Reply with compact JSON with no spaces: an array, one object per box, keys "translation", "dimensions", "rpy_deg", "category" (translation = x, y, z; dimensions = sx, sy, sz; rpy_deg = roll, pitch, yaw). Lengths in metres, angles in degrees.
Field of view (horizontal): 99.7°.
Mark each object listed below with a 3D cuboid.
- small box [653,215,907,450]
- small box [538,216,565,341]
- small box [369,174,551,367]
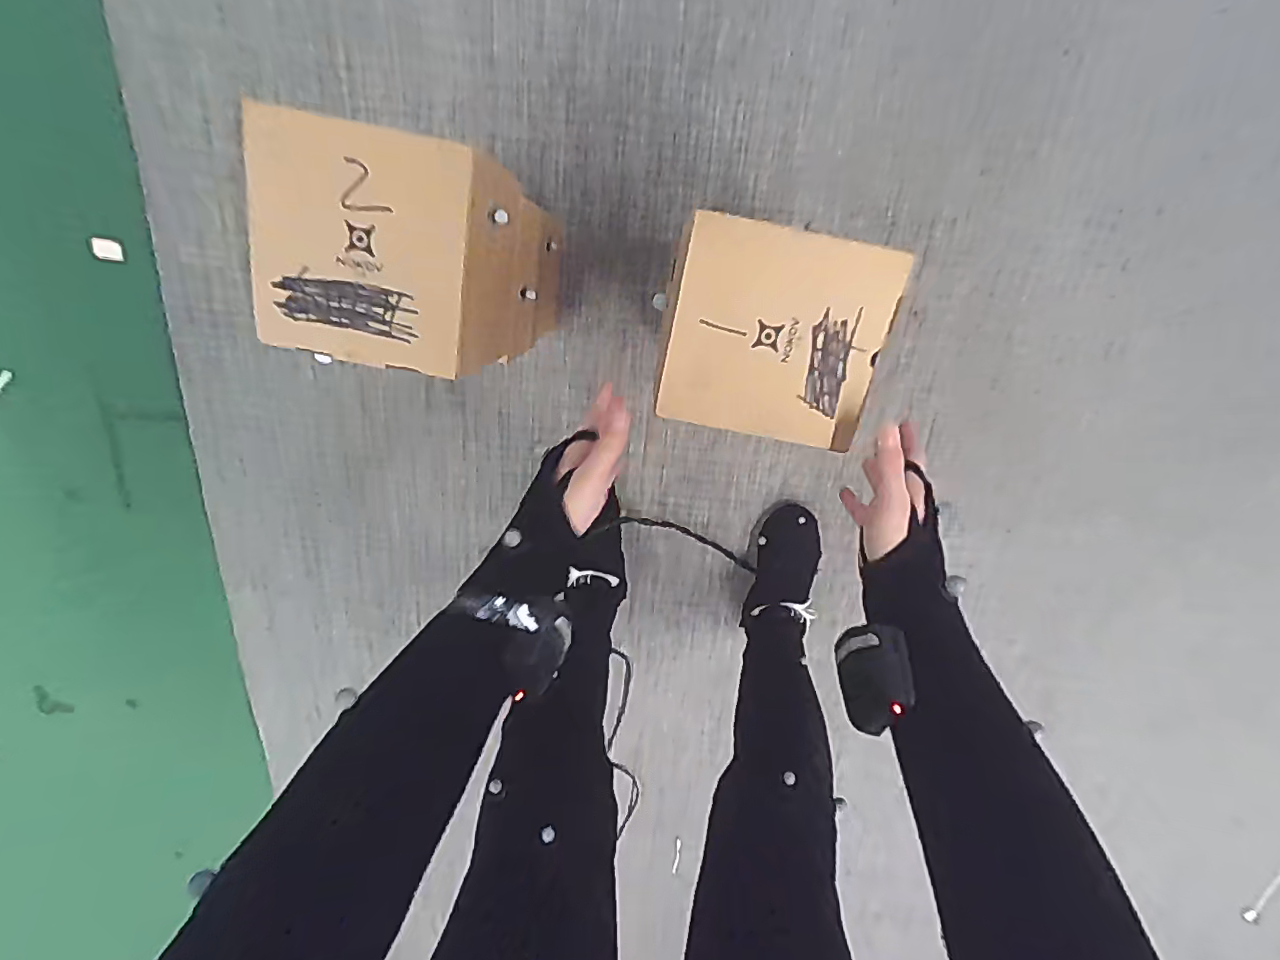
[{"translation":[0.113,-0.144,0.522],"dimensions":[0.179,0.176,0.168],"rpy_deg":[11,110,-2],"category":"small box"},{"translation":[-0.212,-0.308,0.819],"dimensions":[0.168,0.176,0.179],"rpy_deg":[8,109,-2],"category":"small box"},{"translation":[-0.211,-0.250,0.665],"dimensions":[0.168,0.176,0.179],"rpy_deg":[10,109,-3],"category":"small box"}]
